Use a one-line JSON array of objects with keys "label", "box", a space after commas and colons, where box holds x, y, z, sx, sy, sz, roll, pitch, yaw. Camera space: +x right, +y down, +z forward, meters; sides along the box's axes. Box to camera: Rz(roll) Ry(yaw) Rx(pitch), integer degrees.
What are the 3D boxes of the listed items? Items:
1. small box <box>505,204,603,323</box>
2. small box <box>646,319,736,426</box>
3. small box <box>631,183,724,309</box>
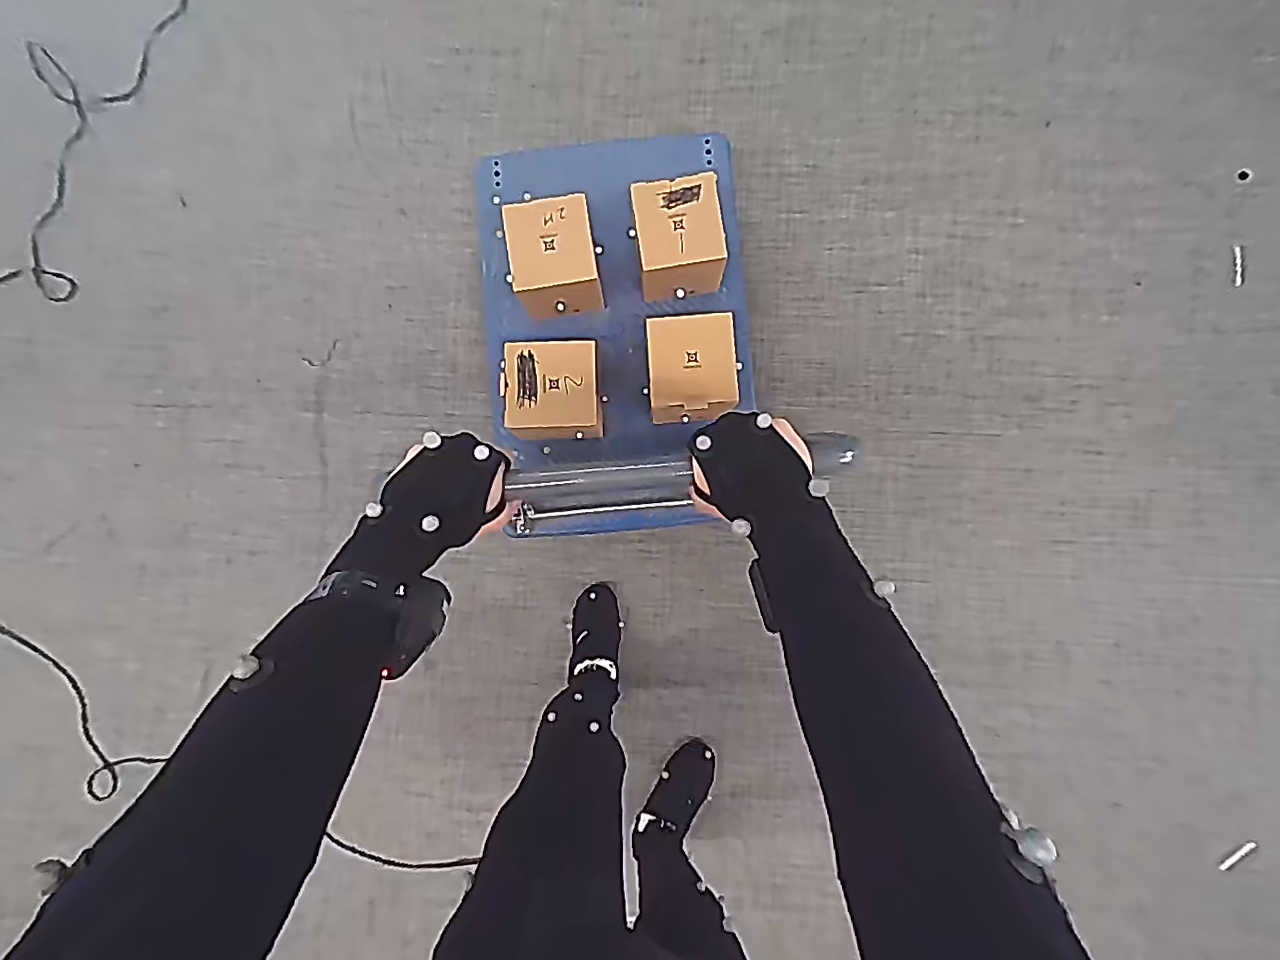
[{"label": "small box", "box": [-0.175, -0.445, 1.143, 0.168, 0.176, 0.179, -9, 86, 0]}, {"label": "small box", "box": [0.099, -0.216, 1.122, 0.168, 0.176, 0.179, -4, 87, 1]}, {"label": "small box", "box": [0.074, -0.485, 1.139, 0.168, 0.176, 0.179, -9, 87, 2]}]
